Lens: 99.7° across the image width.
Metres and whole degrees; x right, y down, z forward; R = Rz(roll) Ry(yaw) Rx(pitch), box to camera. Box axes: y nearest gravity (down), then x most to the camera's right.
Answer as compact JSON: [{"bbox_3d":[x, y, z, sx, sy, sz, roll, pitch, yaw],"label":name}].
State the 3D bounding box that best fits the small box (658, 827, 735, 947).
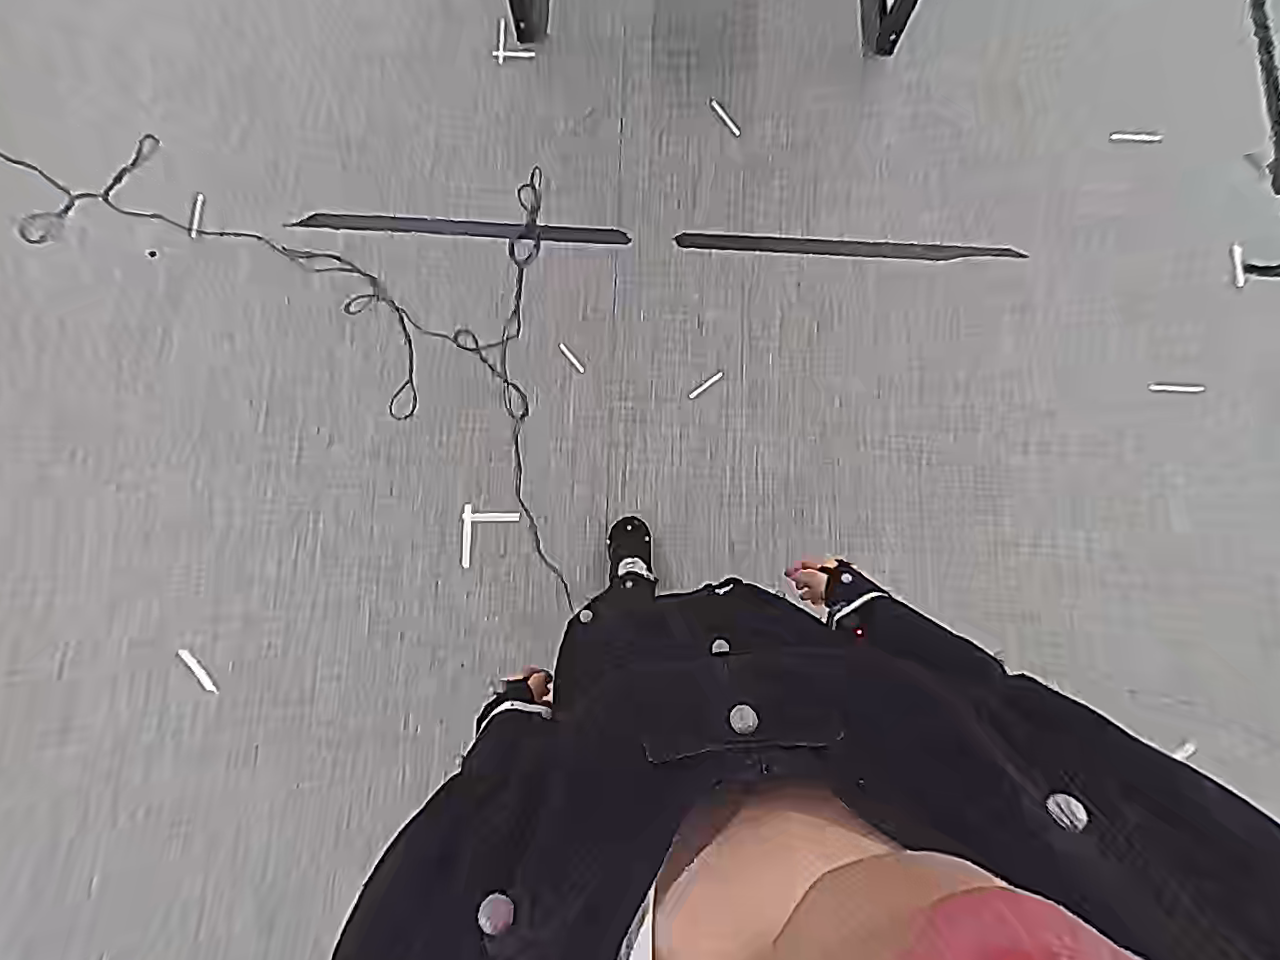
[{"bbox_3d":[0.132,0.975,1.311,0.168,0.176,0.179,4,81,1],"label":"small box"}]
